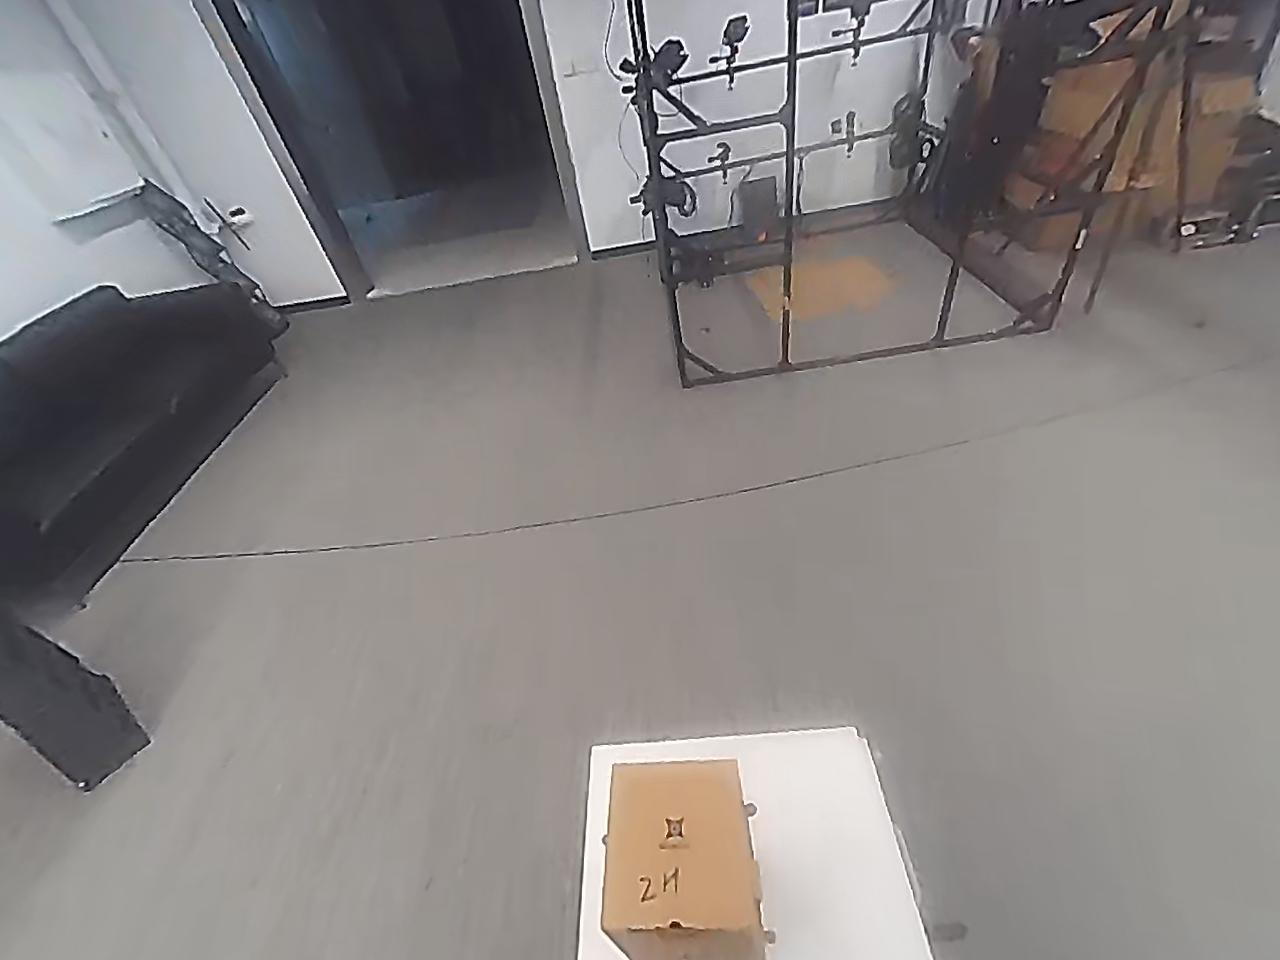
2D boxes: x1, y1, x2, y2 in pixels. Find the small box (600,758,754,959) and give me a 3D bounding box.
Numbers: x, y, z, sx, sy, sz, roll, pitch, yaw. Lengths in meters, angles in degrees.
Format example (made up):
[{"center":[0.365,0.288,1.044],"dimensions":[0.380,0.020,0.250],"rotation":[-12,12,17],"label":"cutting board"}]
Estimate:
[{"center":[0.053,0.481,0.690],"dimensions":[0.168,0.176,0.179],"rotation":[-6,40,8],"label":"small box"}]
